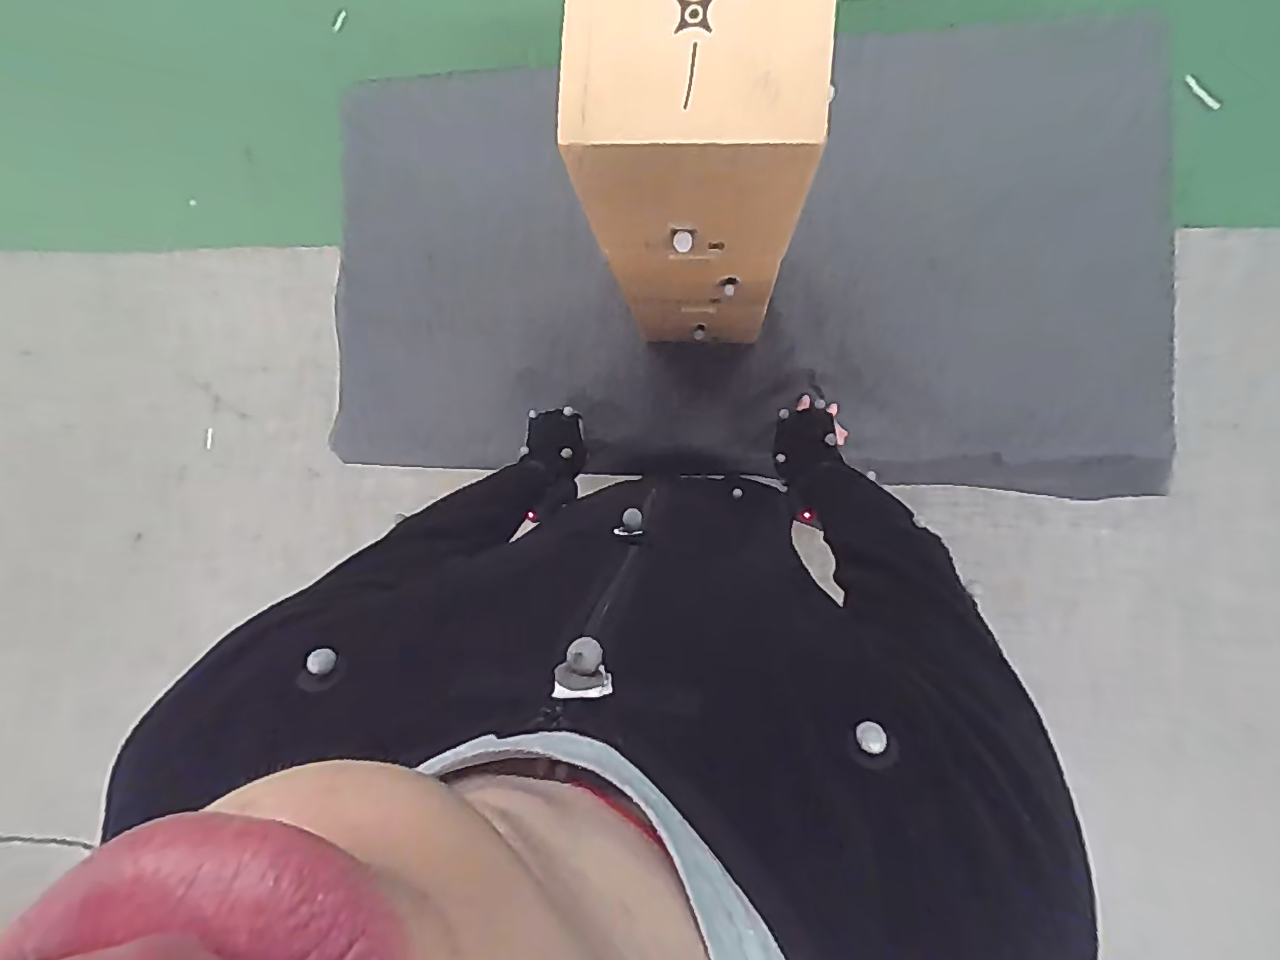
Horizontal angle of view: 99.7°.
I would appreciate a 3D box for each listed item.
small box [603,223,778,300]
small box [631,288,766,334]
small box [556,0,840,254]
[{"bbox_3d":[0.061,-0.297,0.563,0.168,0.176,0.179,3,90,7],"label":"small box"},{"bbox_3d":[0.086,-0.300,0.723,0.168,0.176,0.179,4,92,8],"label":"small box"},{"bbox_3d":[0.044,-0.289,0.399,0.168,0.176,0.179,4,93,7],"label":"small box"}]
